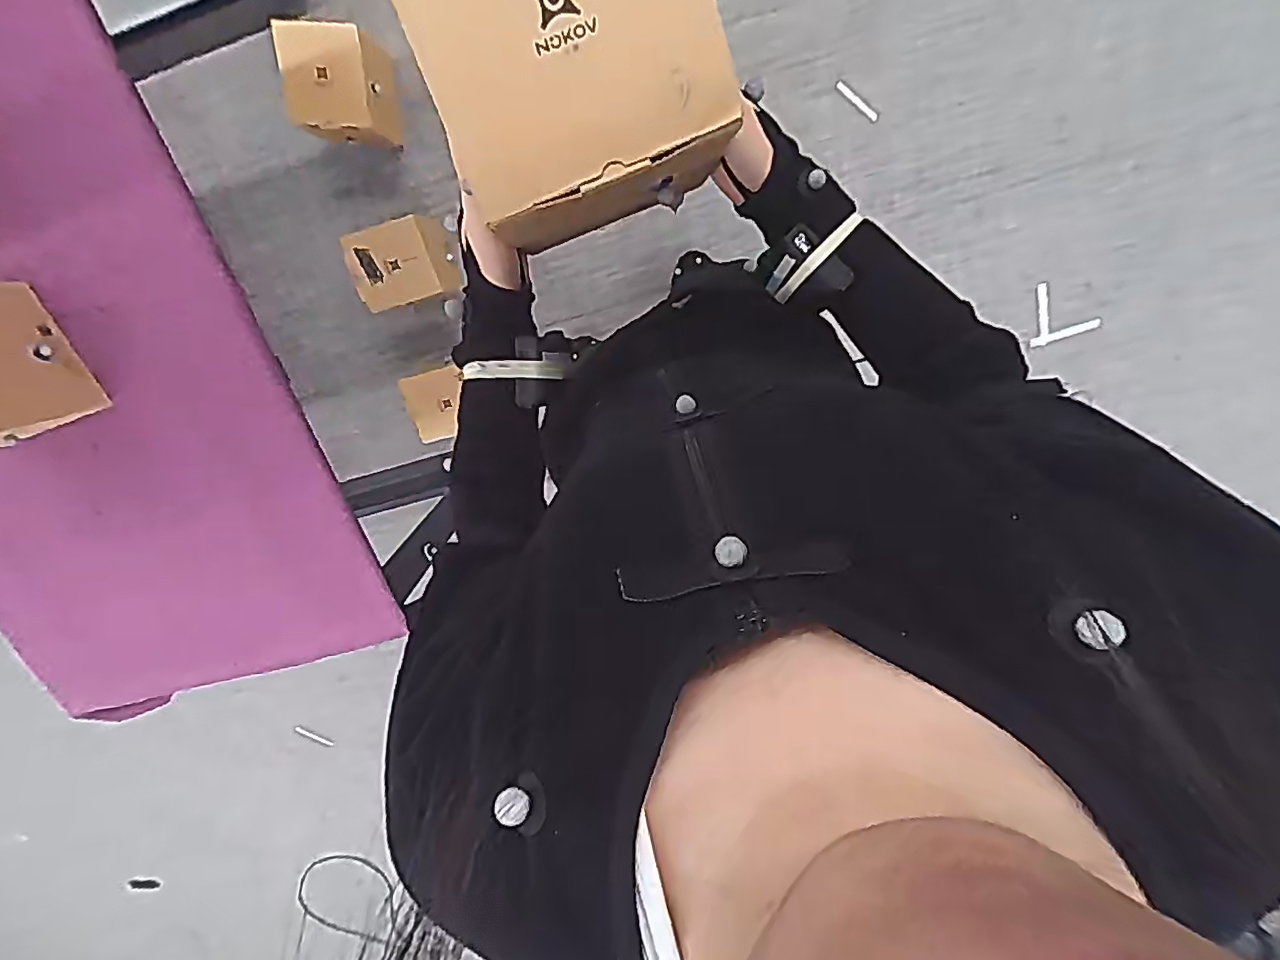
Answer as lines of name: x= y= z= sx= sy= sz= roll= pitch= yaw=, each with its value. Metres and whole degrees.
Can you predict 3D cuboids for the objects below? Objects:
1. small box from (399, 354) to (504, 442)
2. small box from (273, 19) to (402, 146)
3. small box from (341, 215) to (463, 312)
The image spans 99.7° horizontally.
small box: x=-0.469 y=-0.213 z=1.373 sx=0.179 sy=0.176 sz=0.168 roll=-13 pitch=110 yaw=6
small box: x=-0.623 y=-0.825 z=1.137 sx=0.168 sy=0.176 sz=0.179 roll=1 pitch=112 yaw=-1
small box: x=-0.544 y=-0.499 z=1.261 sx=0.179 sy=0.176 sz=0.168 roll=-15 pitch=111 yaw=5
